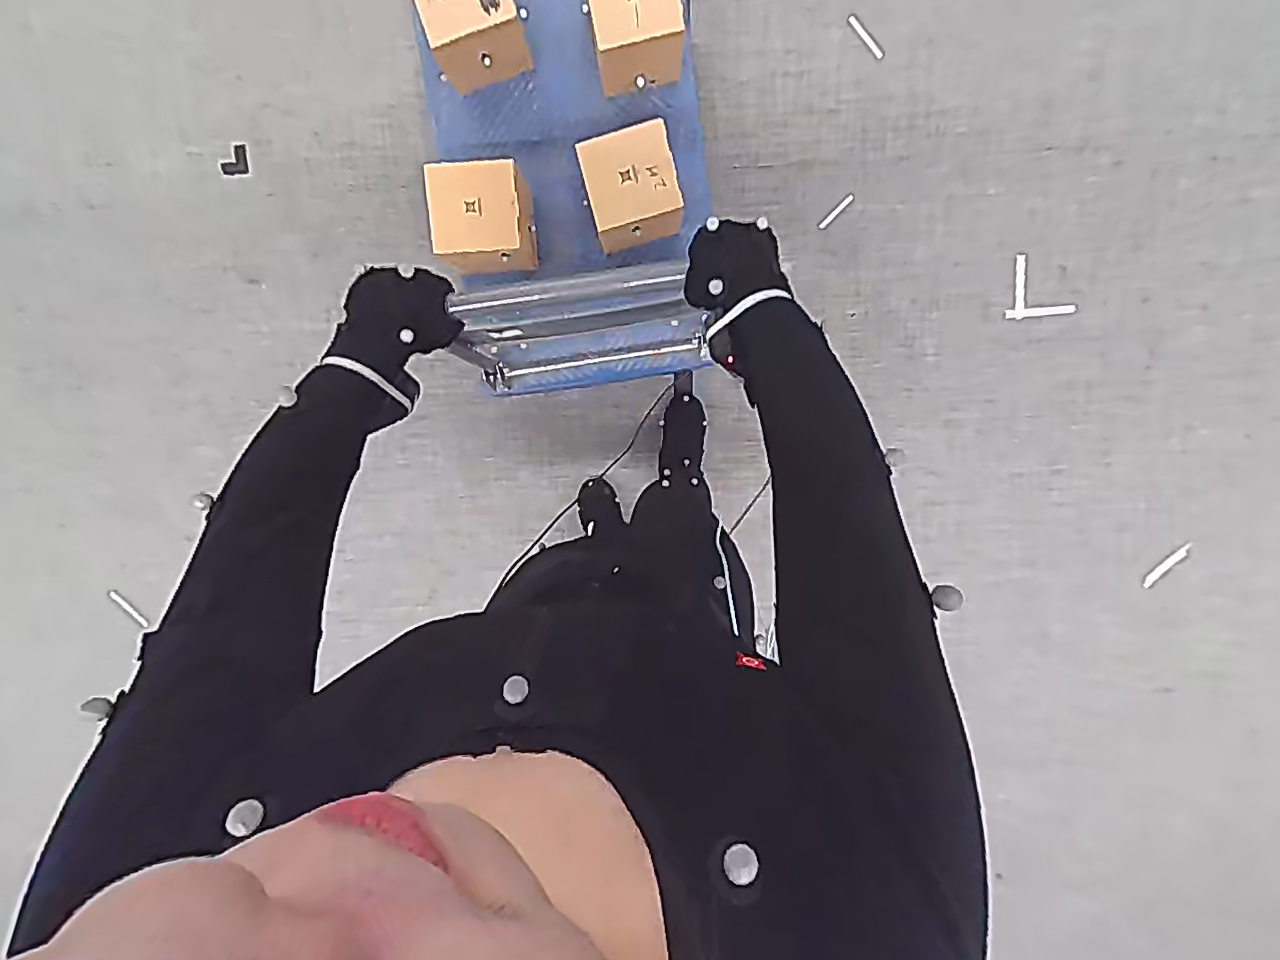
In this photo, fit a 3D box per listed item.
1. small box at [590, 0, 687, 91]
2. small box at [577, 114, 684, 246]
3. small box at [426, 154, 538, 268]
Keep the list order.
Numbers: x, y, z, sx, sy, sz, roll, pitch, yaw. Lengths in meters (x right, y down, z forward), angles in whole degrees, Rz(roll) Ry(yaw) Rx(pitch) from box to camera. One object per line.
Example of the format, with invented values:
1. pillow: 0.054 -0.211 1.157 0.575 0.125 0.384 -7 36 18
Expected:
1. small box: -0.009 -0.911 1.053 0.168 0.176 0.179 -11 100 3
2. small box: -0.015 -0.598 1.104 0.179 0.176 0.168 -14 99 4
3. small box: -0.318 -0.547 1.120 0.179 0.176 0.168 -3 99 0
